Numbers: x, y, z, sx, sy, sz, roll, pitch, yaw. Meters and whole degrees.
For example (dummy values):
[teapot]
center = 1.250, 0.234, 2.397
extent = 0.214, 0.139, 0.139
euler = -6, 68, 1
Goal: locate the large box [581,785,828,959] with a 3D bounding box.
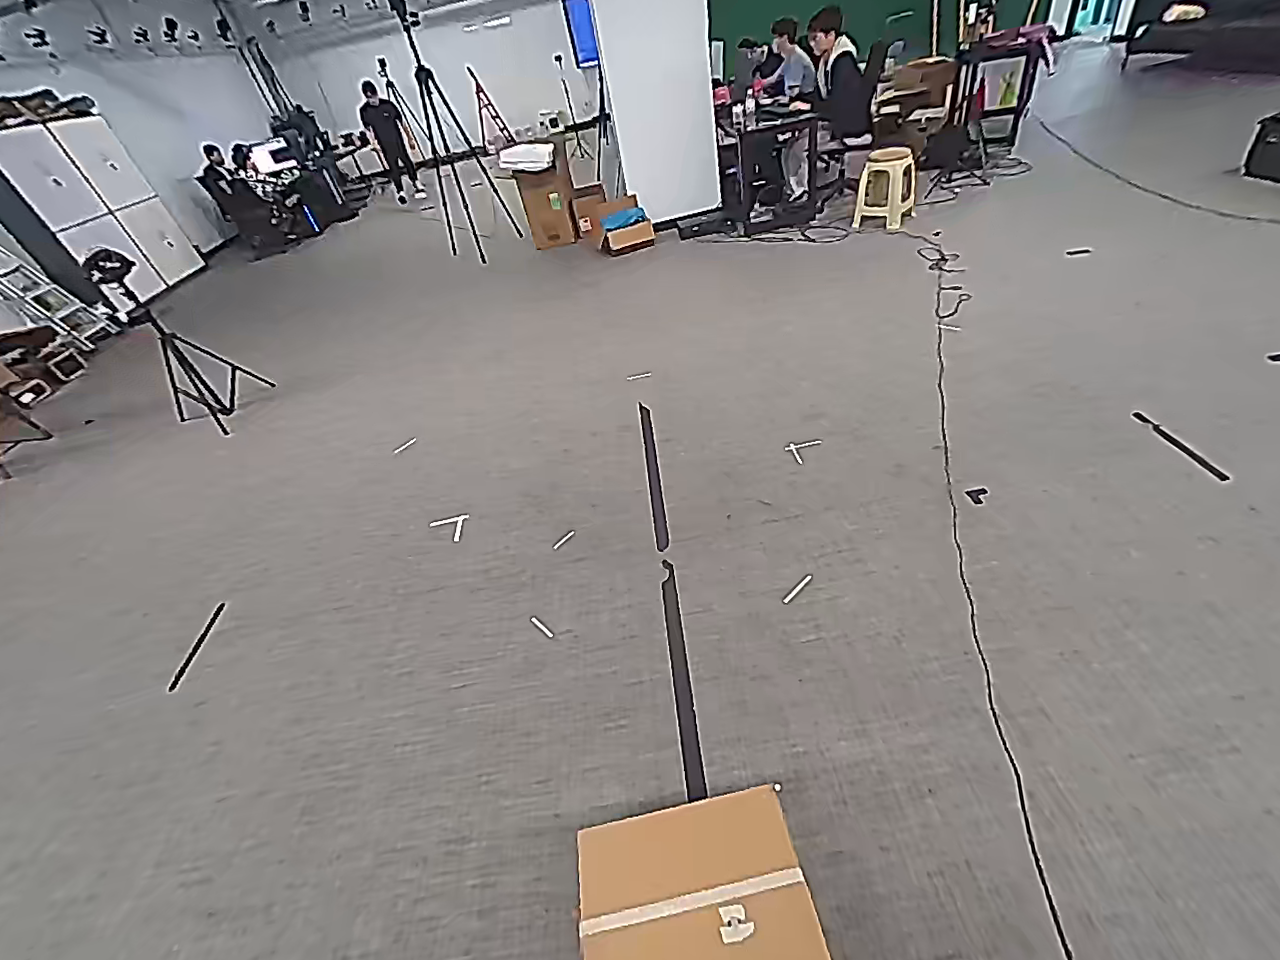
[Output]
[large box]
center = 0.121, 0.868, 1.062
extent = 0.408, 0.320, 0.320
euler = -14, 39, 0
